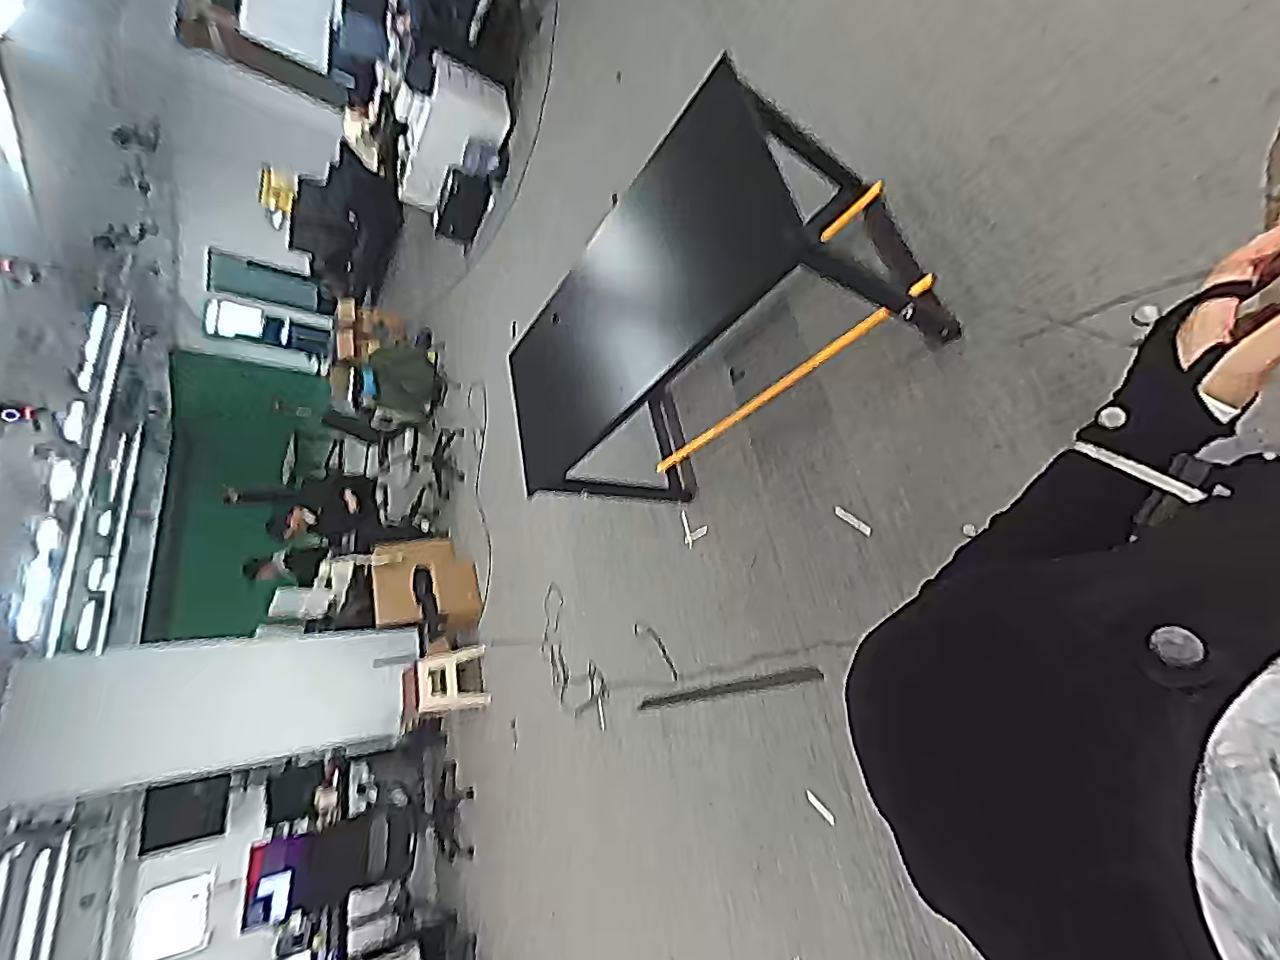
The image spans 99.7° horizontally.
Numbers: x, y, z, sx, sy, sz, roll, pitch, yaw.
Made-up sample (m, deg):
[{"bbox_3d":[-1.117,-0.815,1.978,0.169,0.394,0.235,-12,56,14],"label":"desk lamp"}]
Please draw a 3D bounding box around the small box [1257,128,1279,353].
[{"bbox_3d":[0.525,-0.188,0.340,0.168,0.176,0.179,2,89,43],"label":"small box"}]
